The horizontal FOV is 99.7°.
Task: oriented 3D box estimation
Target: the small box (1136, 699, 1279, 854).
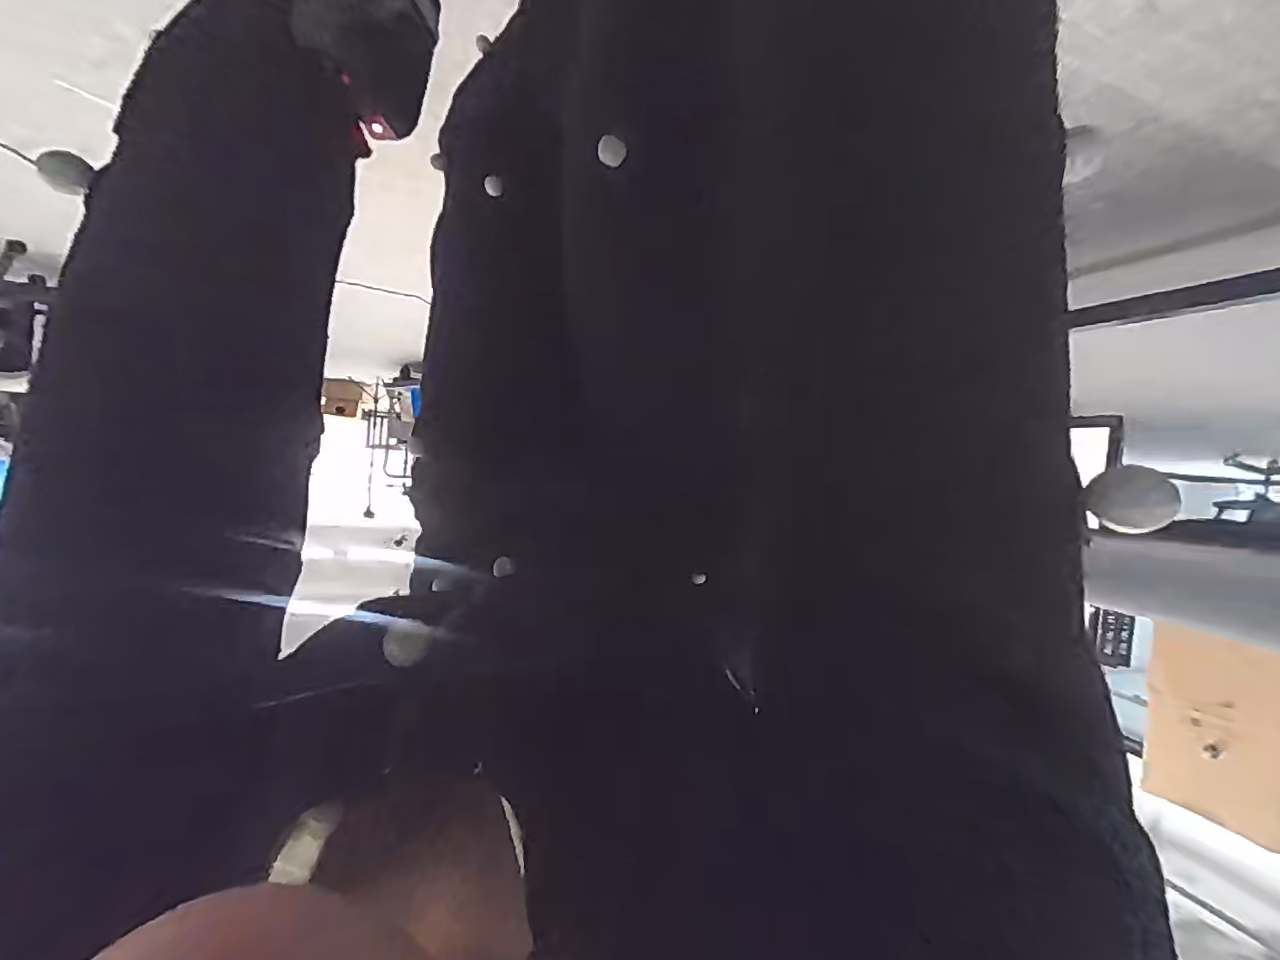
[{"bbox_3d":[0.963,0.457,0.880,0.179,0.176,0.168,4,-179,-22],"label":"small box"}]
